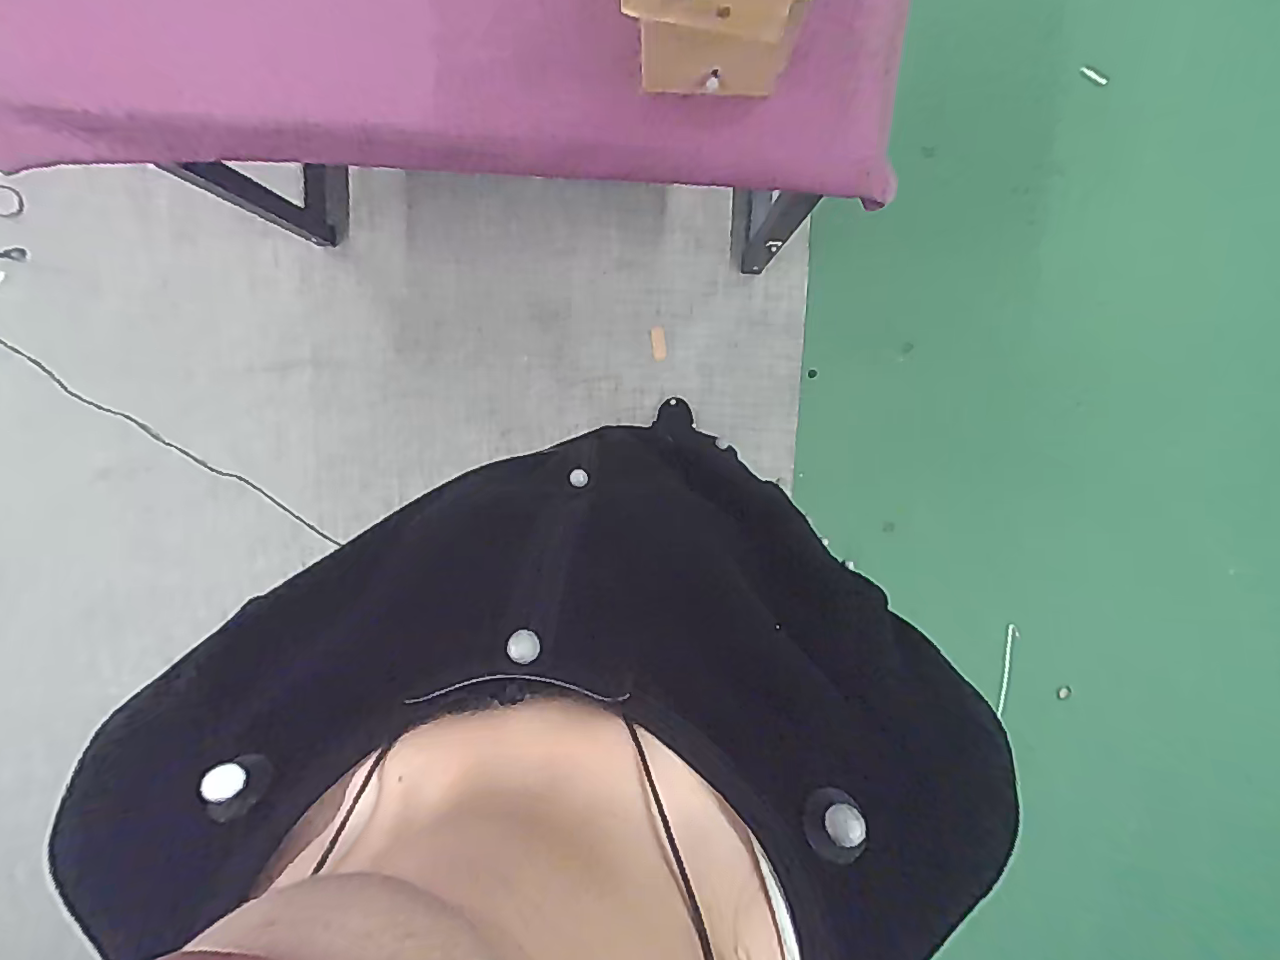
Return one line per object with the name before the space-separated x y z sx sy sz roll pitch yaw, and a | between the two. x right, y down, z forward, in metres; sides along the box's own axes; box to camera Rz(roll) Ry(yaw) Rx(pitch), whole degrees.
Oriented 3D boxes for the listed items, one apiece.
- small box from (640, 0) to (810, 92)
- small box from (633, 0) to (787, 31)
small box | 0.091 -0.576 0.612 0.179 0.176 0.168 2 96 1
small box | 0.072 -0.539 0.453 0.168 0.176 0.179 10 97 1
